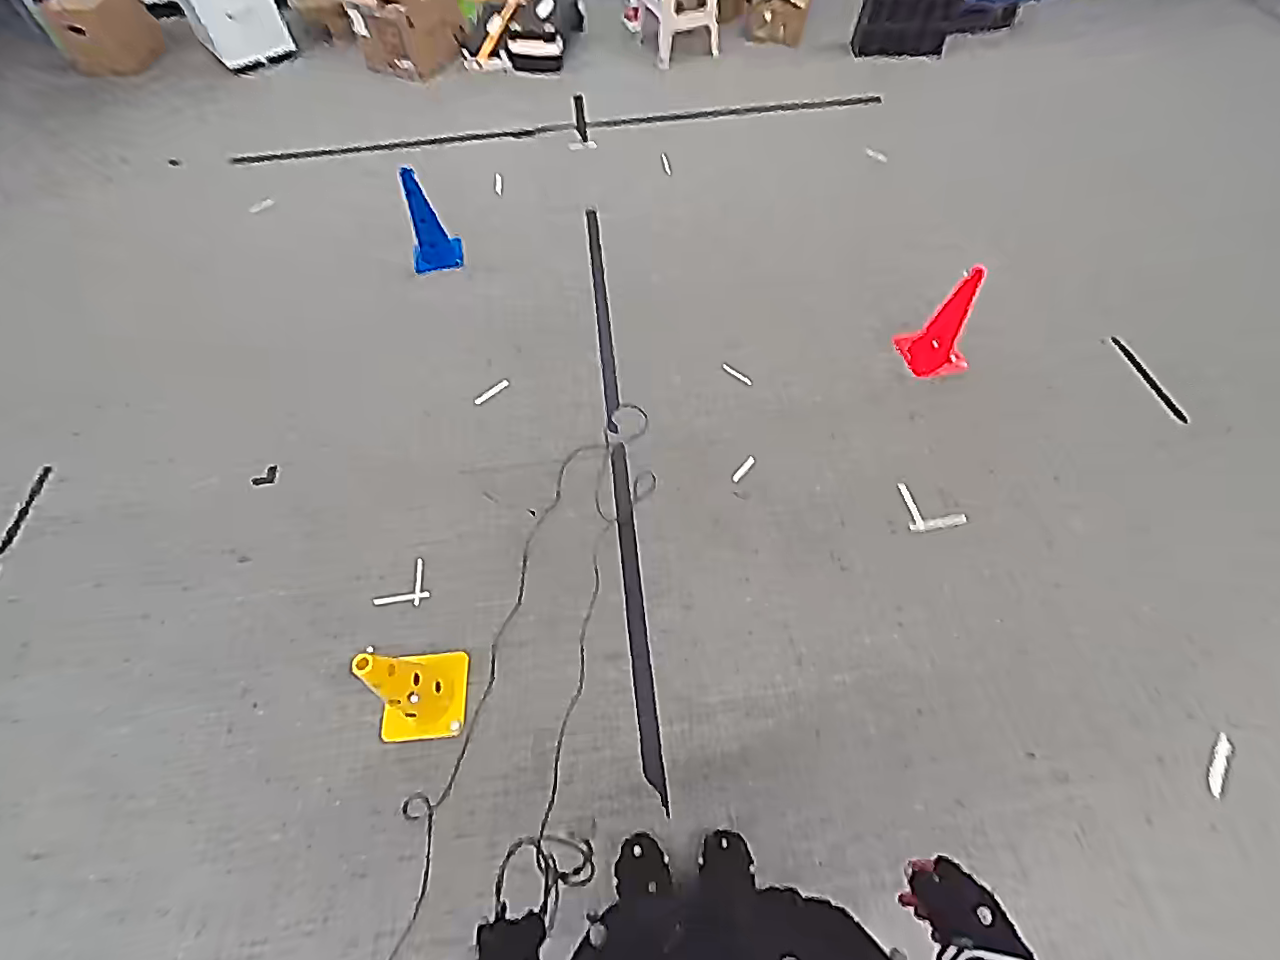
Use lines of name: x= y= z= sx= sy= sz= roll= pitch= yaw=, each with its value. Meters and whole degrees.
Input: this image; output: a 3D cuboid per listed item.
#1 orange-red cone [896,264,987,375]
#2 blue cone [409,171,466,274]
orange-red cone: x=1.029 y=-0.546 z=1.776 sx=0.198 sy=0.360 sz=0.199 roll=-10 pitch=57 yaw=-5
blue cone: x=-0.835 y=-1.023 z=2.135 sx=0.192 sy=0.380 sz=0.193 roll=-11 pitch=59 yaw=-5
